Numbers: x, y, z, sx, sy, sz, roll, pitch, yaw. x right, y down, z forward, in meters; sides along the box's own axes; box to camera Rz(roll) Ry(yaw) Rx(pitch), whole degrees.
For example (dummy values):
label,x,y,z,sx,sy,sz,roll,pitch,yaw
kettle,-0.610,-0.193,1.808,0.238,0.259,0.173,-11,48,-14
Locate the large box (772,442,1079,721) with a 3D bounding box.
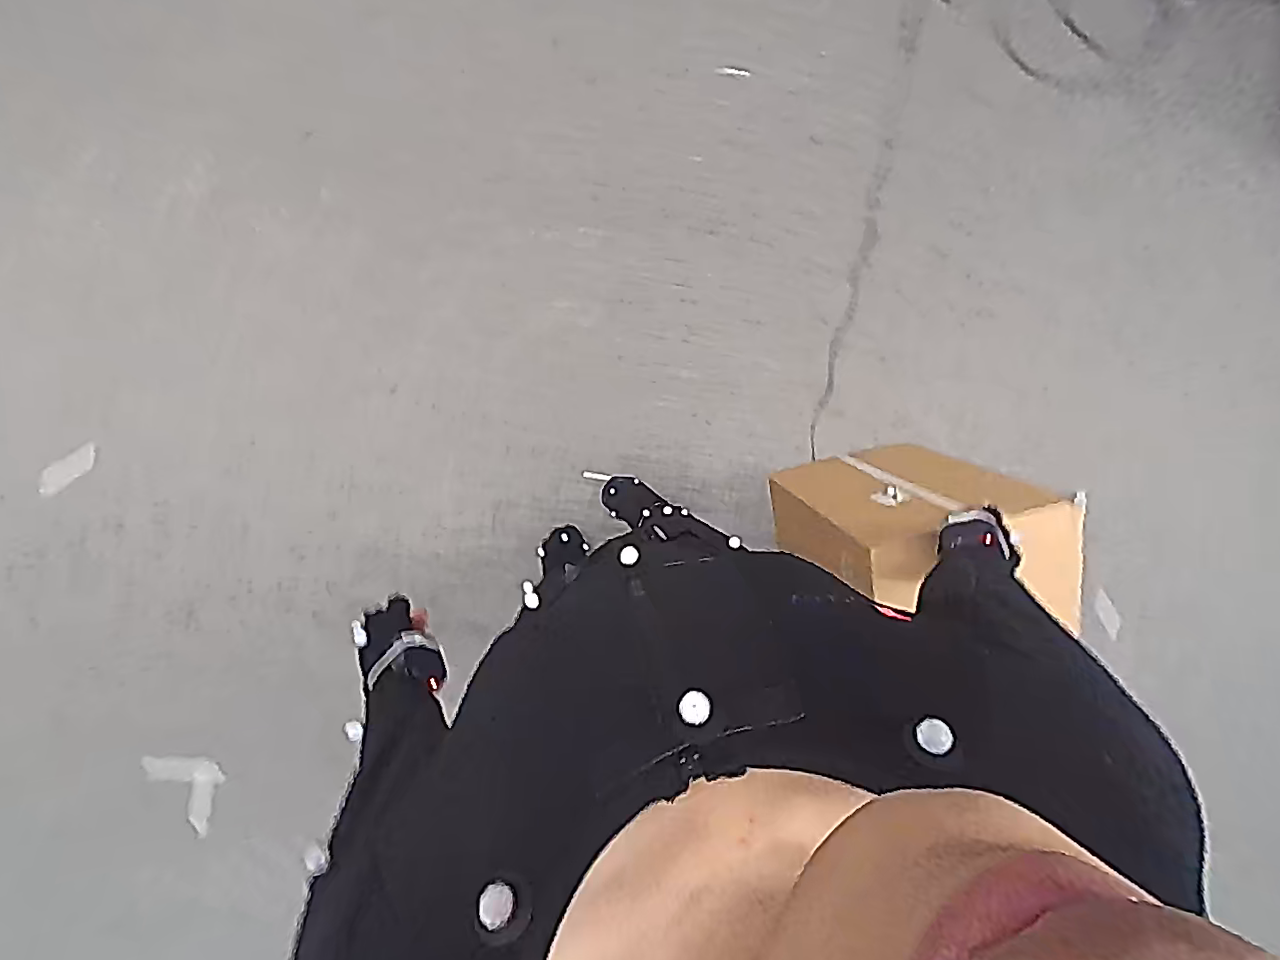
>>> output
label,x,y,z,sx,sy,sz,roll,pitch,yaw
large box,0.471,0.147,0.981,0.320,0.408,0.320,-13,108,-4
